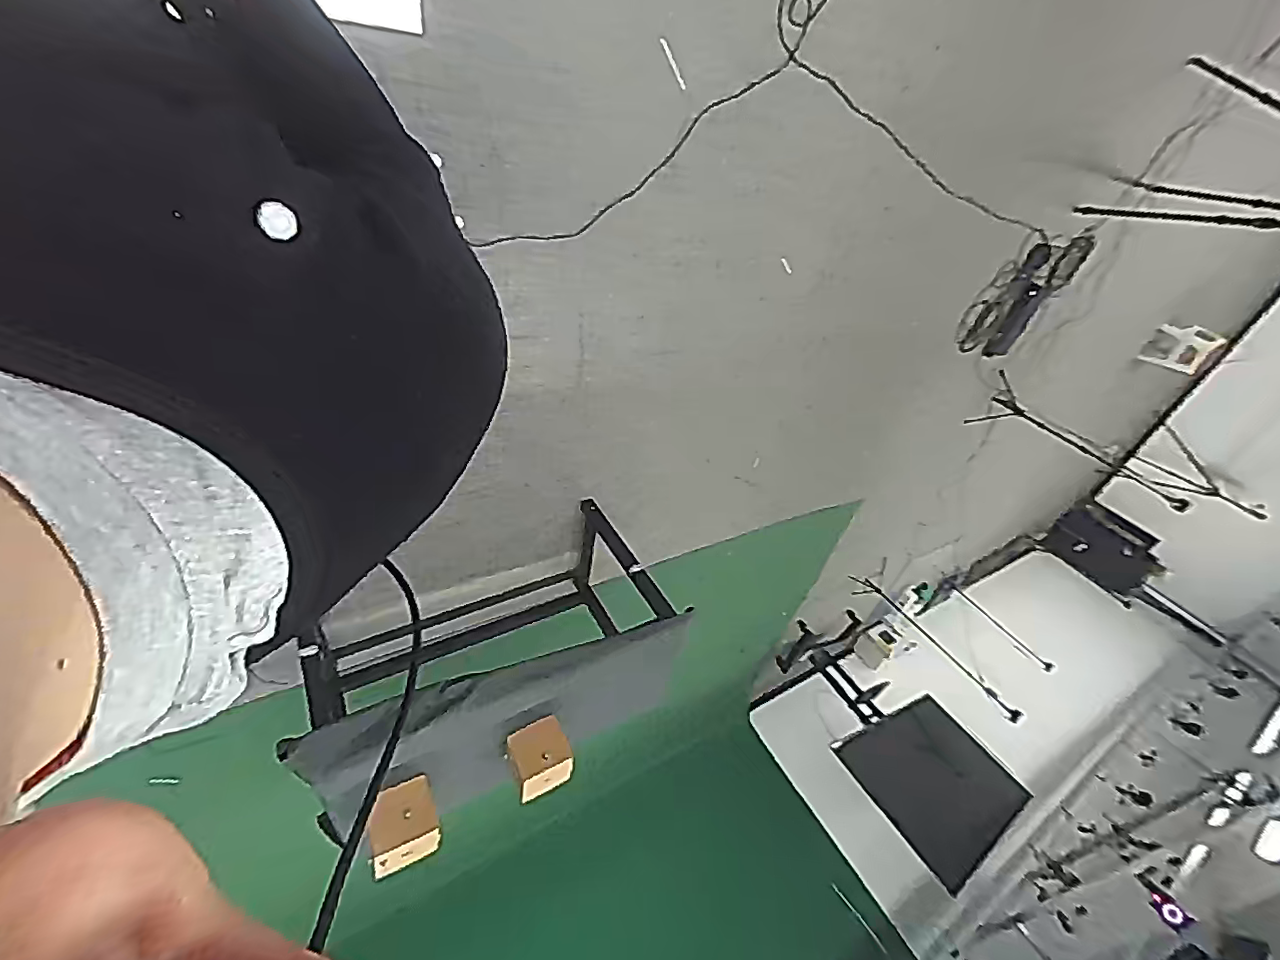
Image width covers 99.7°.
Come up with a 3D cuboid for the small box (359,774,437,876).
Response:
[{"bbox_3d":[-0.722,1.019,1.612,0.179,0.176,0.168,-10,133,-35],"label":"small box"}]

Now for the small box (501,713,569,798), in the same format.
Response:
[{"bbox_3d":[-0.359,0.930,1.838,0.179,0.176,0.168,-14,134,-29],"label":"small box"}]
